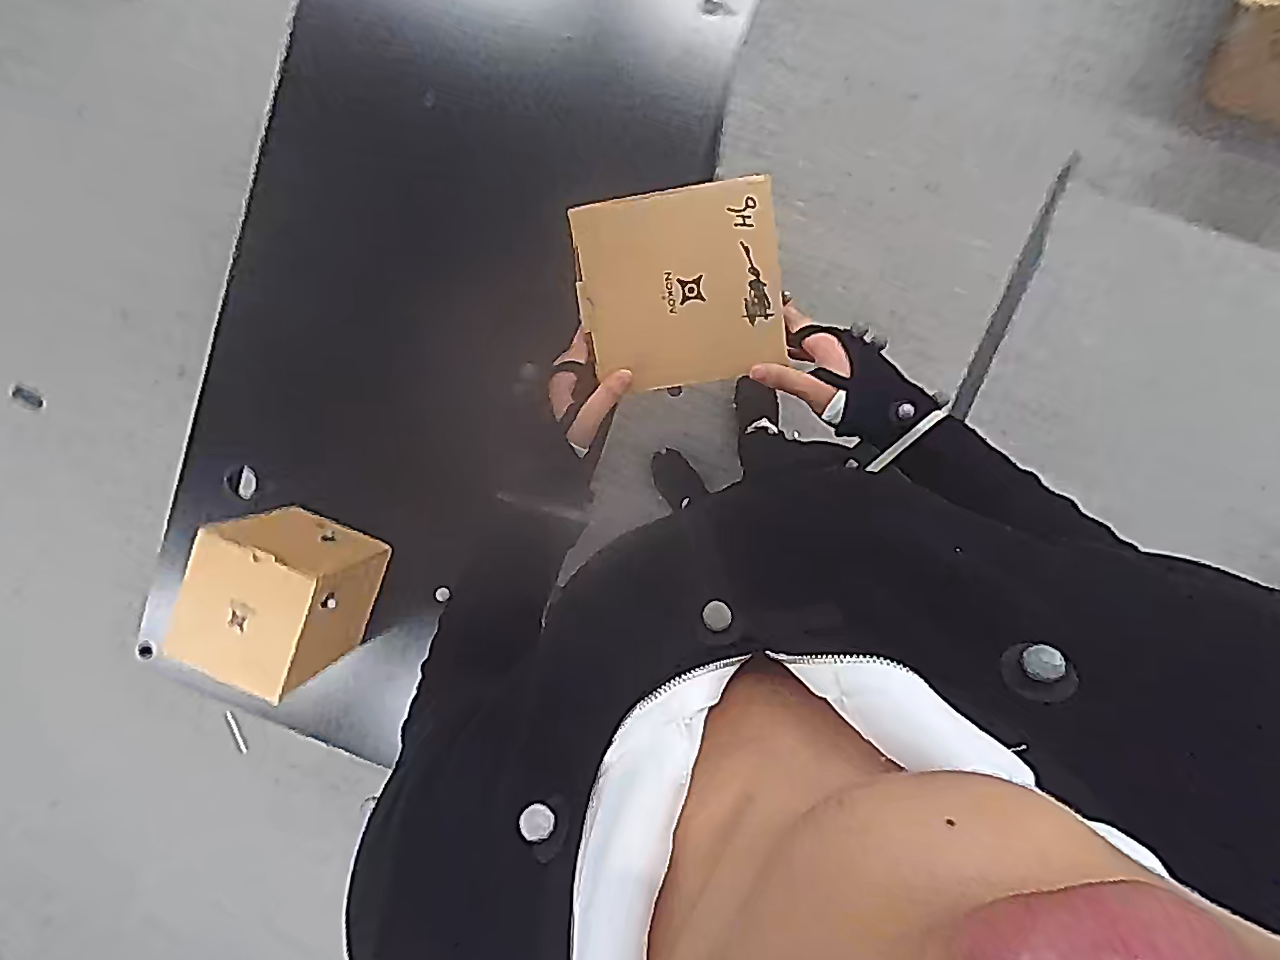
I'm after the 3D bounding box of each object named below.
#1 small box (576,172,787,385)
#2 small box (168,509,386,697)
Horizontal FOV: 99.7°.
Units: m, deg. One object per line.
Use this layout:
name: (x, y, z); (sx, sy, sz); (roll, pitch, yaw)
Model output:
small box: (0.043, -0.190, 0.561); (0.179, 0.176, 0.168); (-7, 101, 4)
small box: (-0.485, 0.157, 0.748); (0.168, 0.176, 0.179); (21, 96, 2)
